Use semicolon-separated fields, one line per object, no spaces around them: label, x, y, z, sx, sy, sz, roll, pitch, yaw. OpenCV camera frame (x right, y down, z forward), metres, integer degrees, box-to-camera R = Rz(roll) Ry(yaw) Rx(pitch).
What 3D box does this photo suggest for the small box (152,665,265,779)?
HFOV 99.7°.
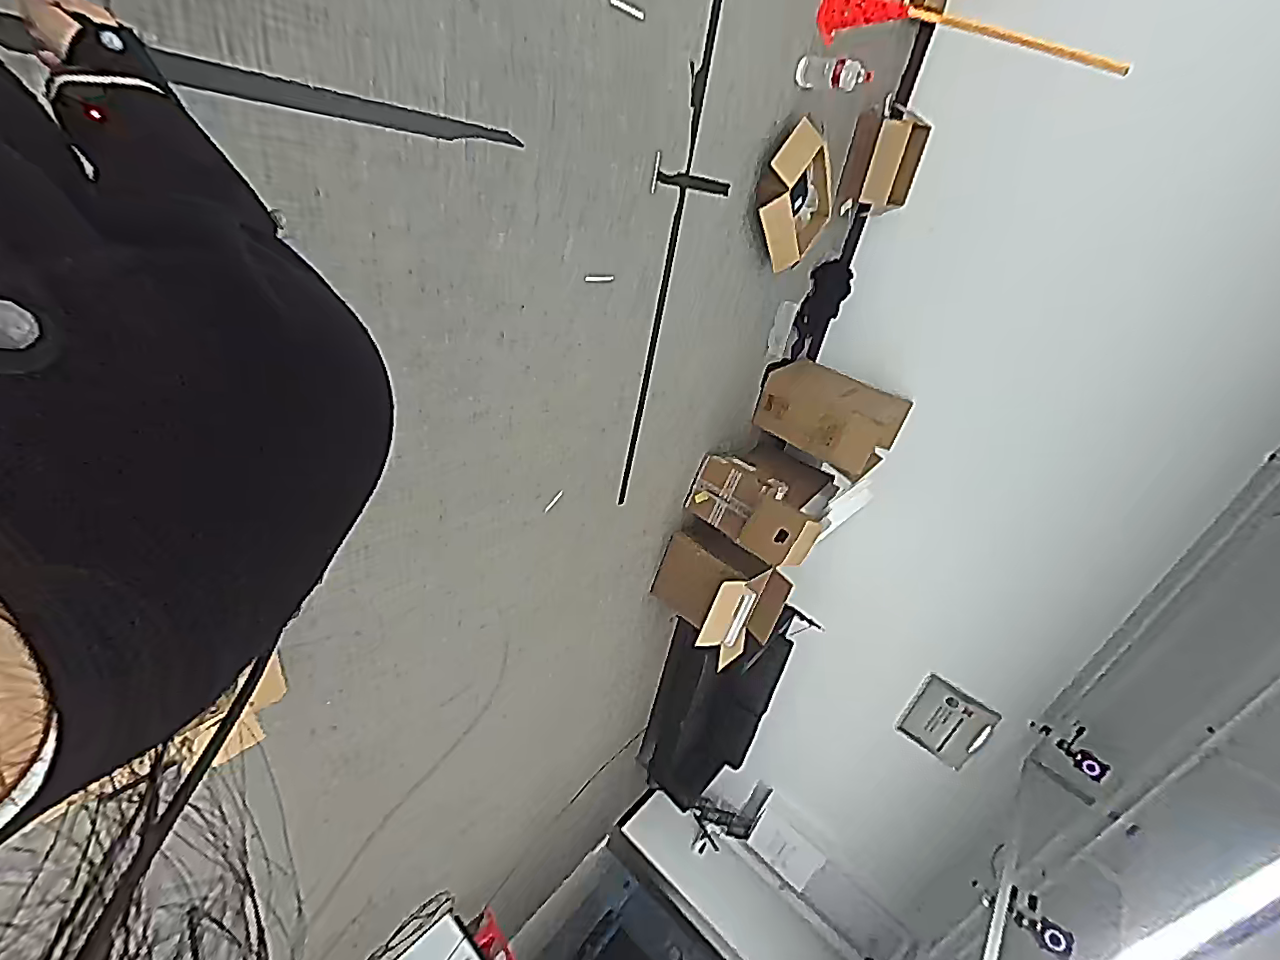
small box;-1.117;0.620;1.403;0.168;0.176;0.179;-29;139;-42
